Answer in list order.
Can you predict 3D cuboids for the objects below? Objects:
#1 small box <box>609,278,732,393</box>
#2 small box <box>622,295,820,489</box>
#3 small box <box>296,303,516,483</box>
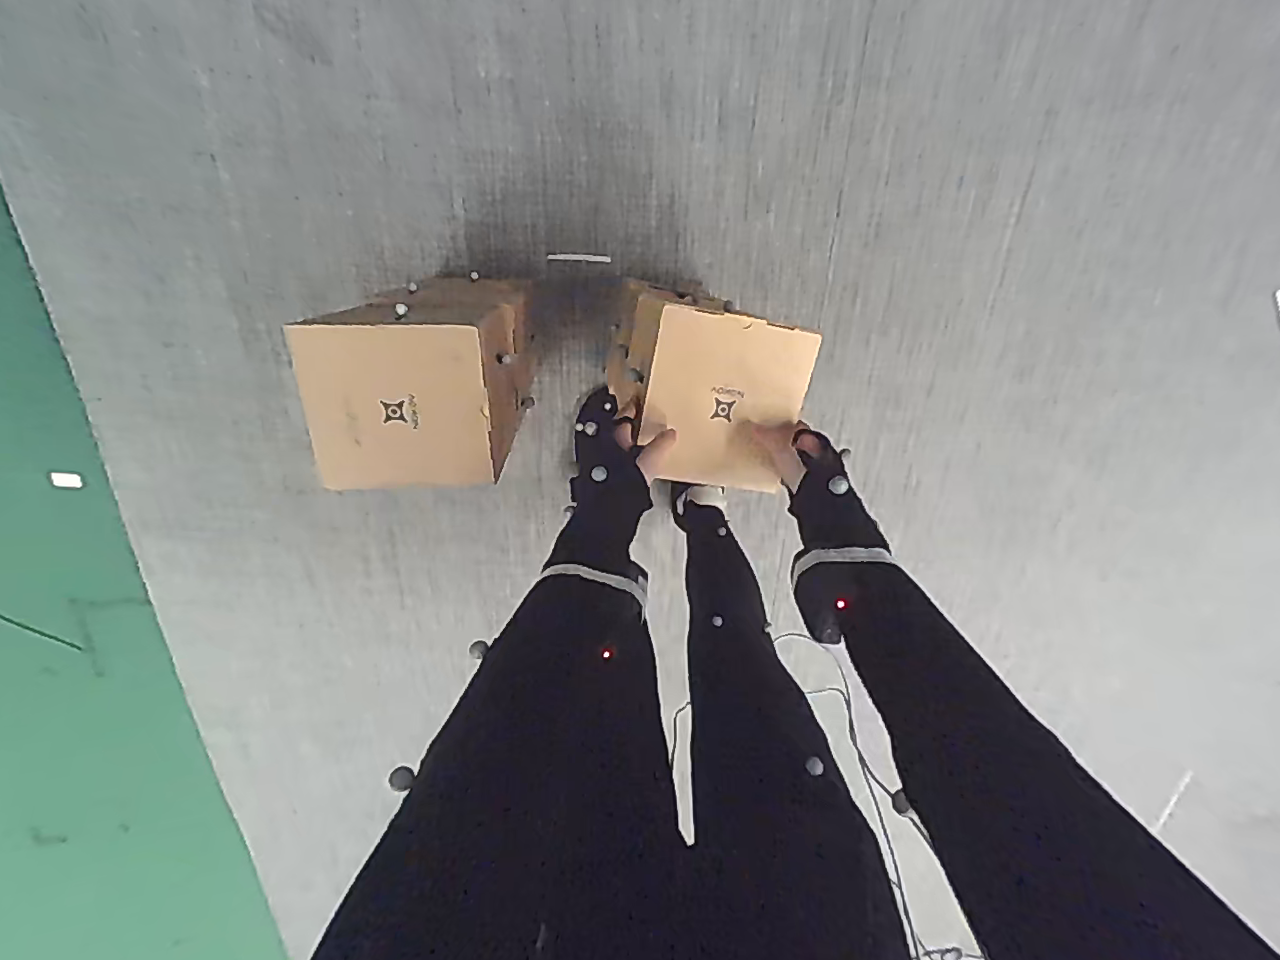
[{"bbox_3d":[0.041,-0.241,0.931,0.168,0.176,0.179,9,113,-8],"label":"small box"},{"bbox_3d":[0.077,-0.108,0.627,0.168,0.176,0.179,8,108,-11],"label":"small box"},{"bbox_3d":[-0.237,-0.104,0.604,0.179,0.176,0.168,0,113,-4],"label":"small box"}]
